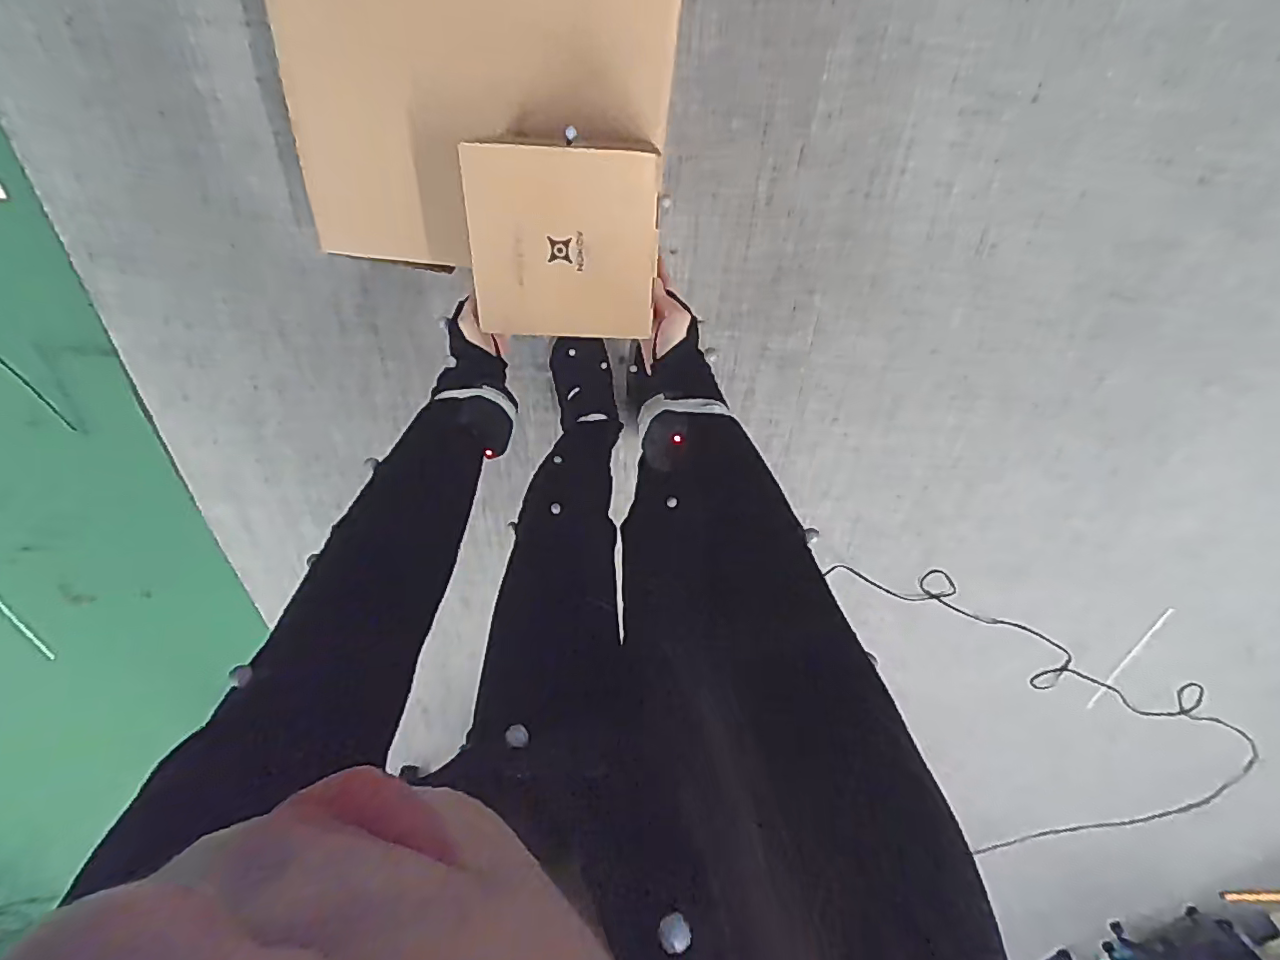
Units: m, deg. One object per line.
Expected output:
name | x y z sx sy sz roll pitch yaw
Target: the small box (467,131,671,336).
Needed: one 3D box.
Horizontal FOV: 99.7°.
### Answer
small box | -0.067 -0.262 0.567 0.179 0.176 0.168 2 124 -3
